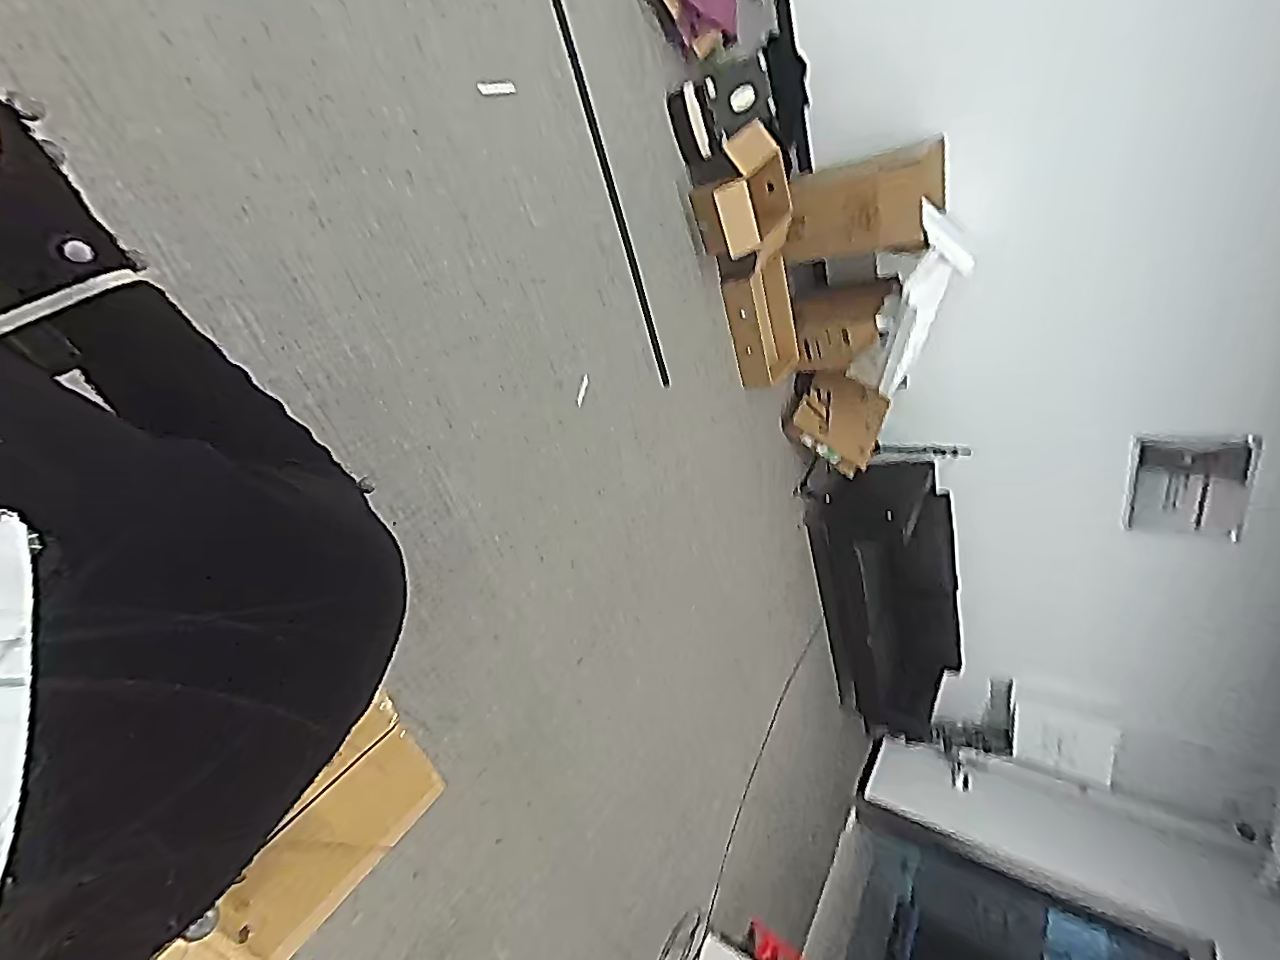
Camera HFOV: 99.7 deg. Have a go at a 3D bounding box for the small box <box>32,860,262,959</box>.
[{"bbox_3d":[-0.591,0.612,0.653,0.168,0.176,0.179,-43,123,-42],"label":"small box"}]
